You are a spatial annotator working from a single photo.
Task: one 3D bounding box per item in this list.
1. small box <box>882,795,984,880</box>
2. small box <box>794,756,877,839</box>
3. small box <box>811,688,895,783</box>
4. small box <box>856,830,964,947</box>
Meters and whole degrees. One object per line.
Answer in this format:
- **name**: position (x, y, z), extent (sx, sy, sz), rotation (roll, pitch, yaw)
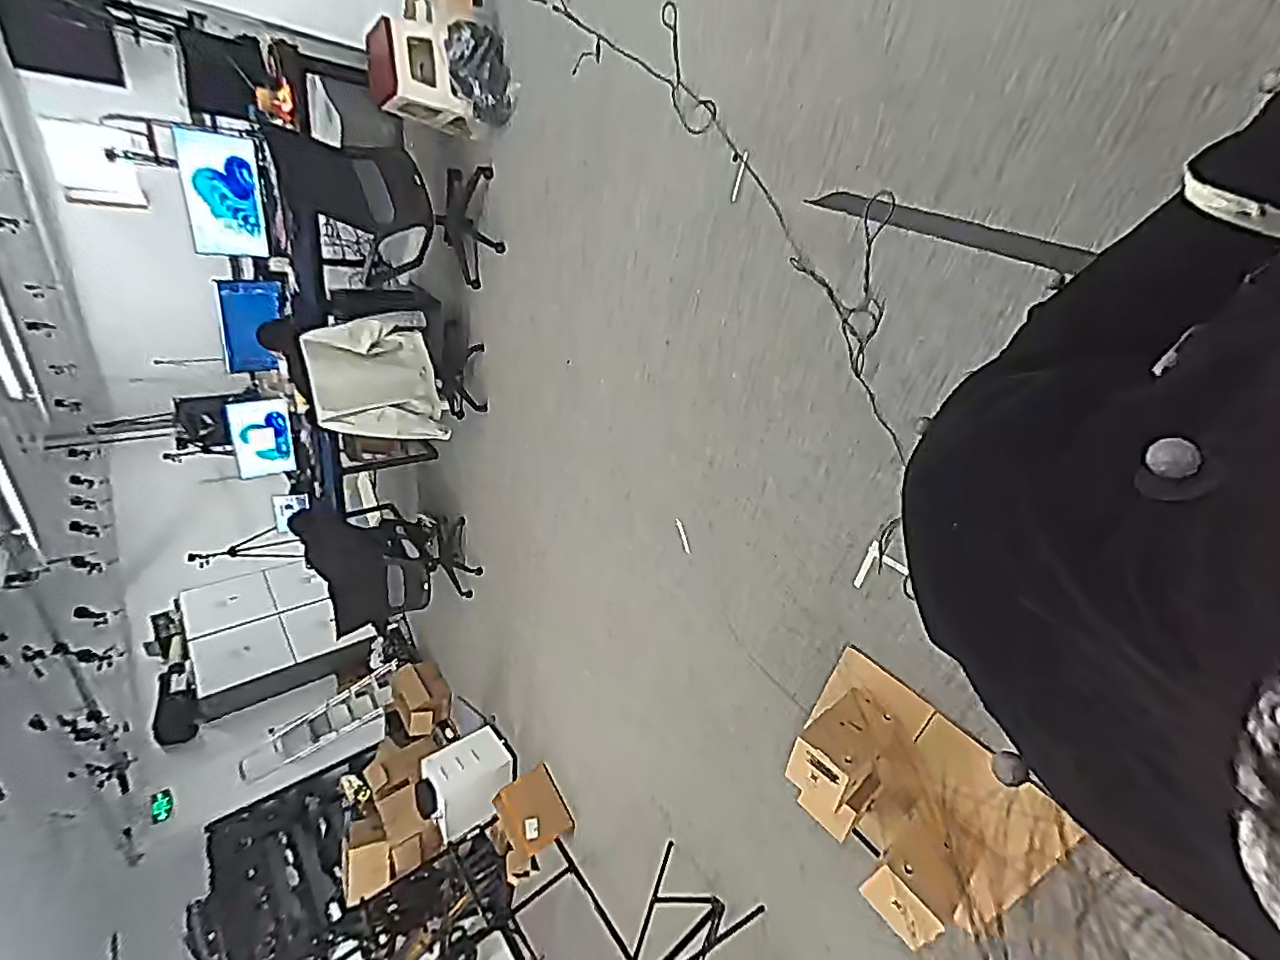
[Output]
- **small box**: position (0.852, 1.057, 1.571), extent (0.179, 0.176, 0.168), rotation (39, 129, 34)
- **small box**: position (0.652, 1.032, 1.801), extent (0.179, 0.176, 0.168), rotation (32, 126, 39)
- **small box**: position (0.672, 0.792, 1.697), extent (0.168, 0.176, 0.179), rotation (33, 126, 39)
- **small box**: position (0.731, 1.093, 1.465), extent (0.179, 0.176, 0.168), rotation (40, 130, 33)
